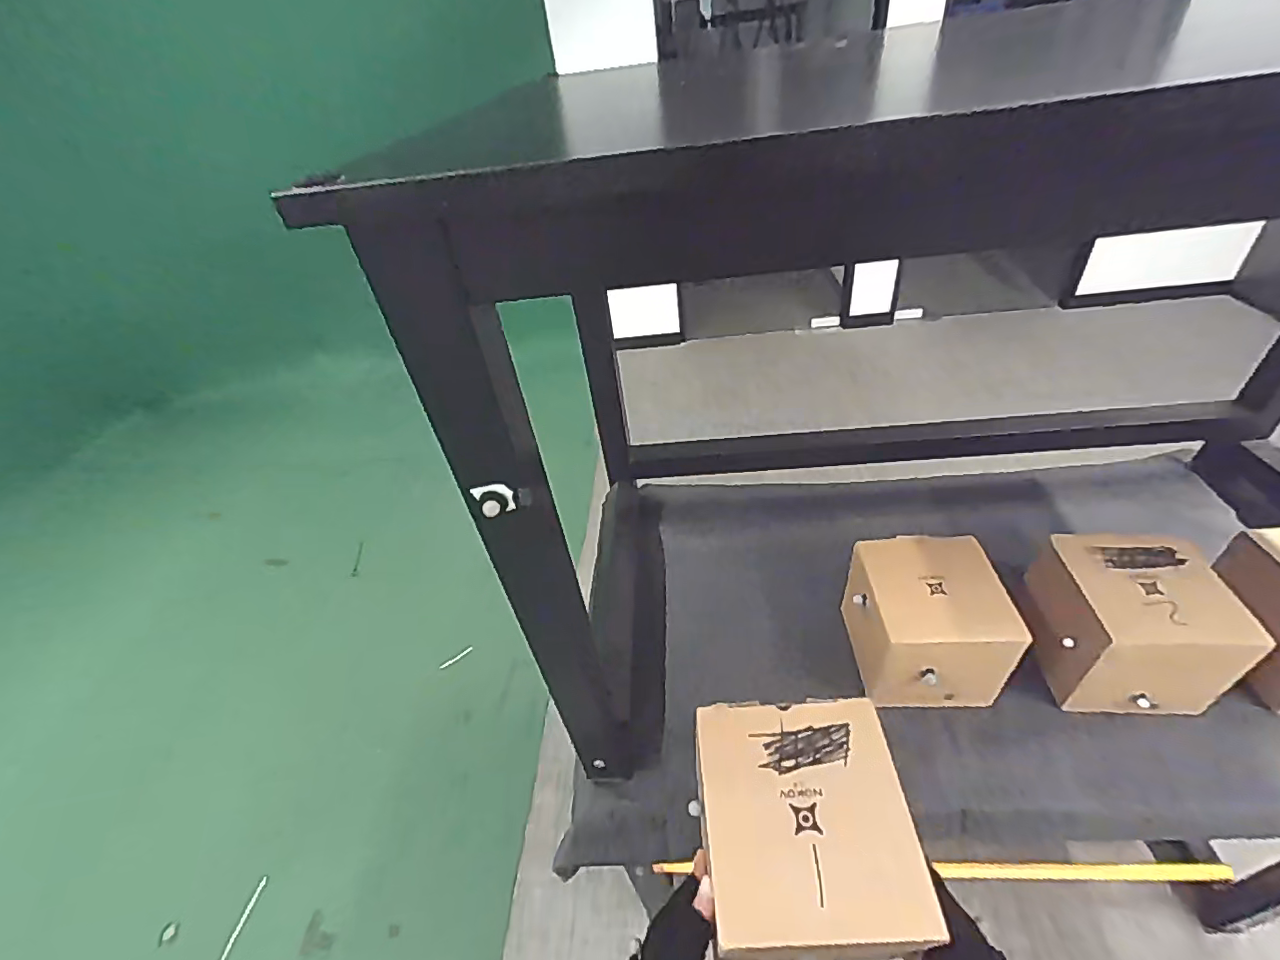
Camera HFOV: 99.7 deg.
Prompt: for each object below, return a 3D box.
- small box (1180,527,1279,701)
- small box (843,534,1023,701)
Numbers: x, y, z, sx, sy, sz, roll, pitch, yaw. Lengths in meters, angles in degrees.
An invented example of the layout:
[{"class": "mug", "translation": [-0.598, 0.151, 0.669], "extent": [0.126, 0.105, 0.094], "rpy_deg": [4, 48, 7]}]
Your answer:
[{"class": "small box", "translation": [0.889, 0.179, 0.707], "extent": [0.168, 0.176, 0.179], "rpy_deg": [-4, 39, 6]}, {"class": "small box", "translation": [0.401, 0.201, 0.777], "extent": [0.168, 0.176, 0.179], "rpy_deg": [-3, 40, 7]}]
